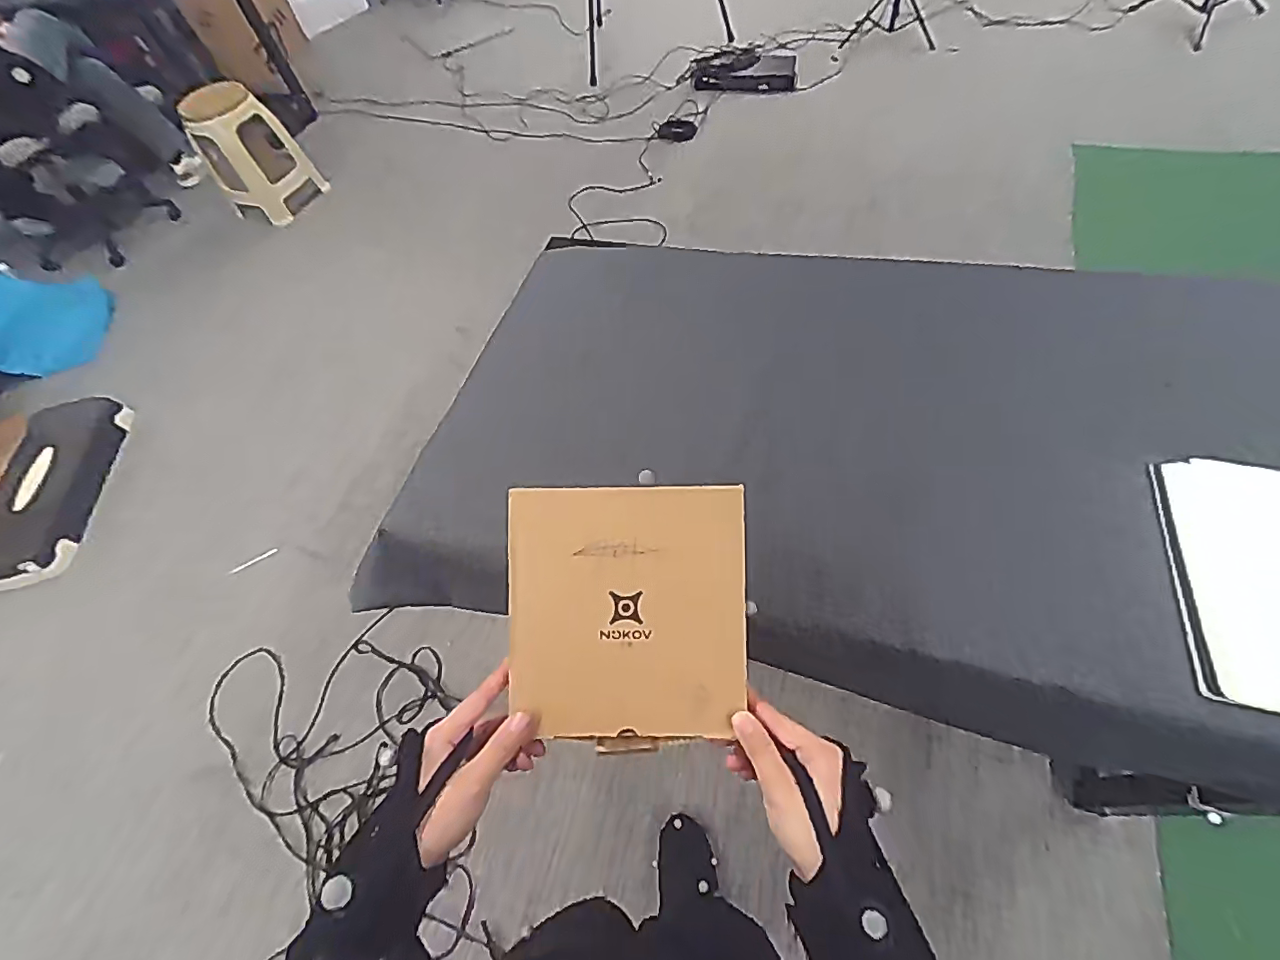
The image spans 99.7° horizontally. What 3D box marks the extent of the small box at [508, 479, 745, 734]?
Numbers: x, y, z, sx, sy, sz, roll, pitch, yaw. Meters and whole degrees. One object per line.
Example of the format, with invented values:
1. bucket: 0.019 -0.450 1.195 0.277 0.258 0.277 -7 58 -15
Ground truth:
1. small box: -0.007 0.089 0.452 0.168 0.176 0.179 -1 87 1
